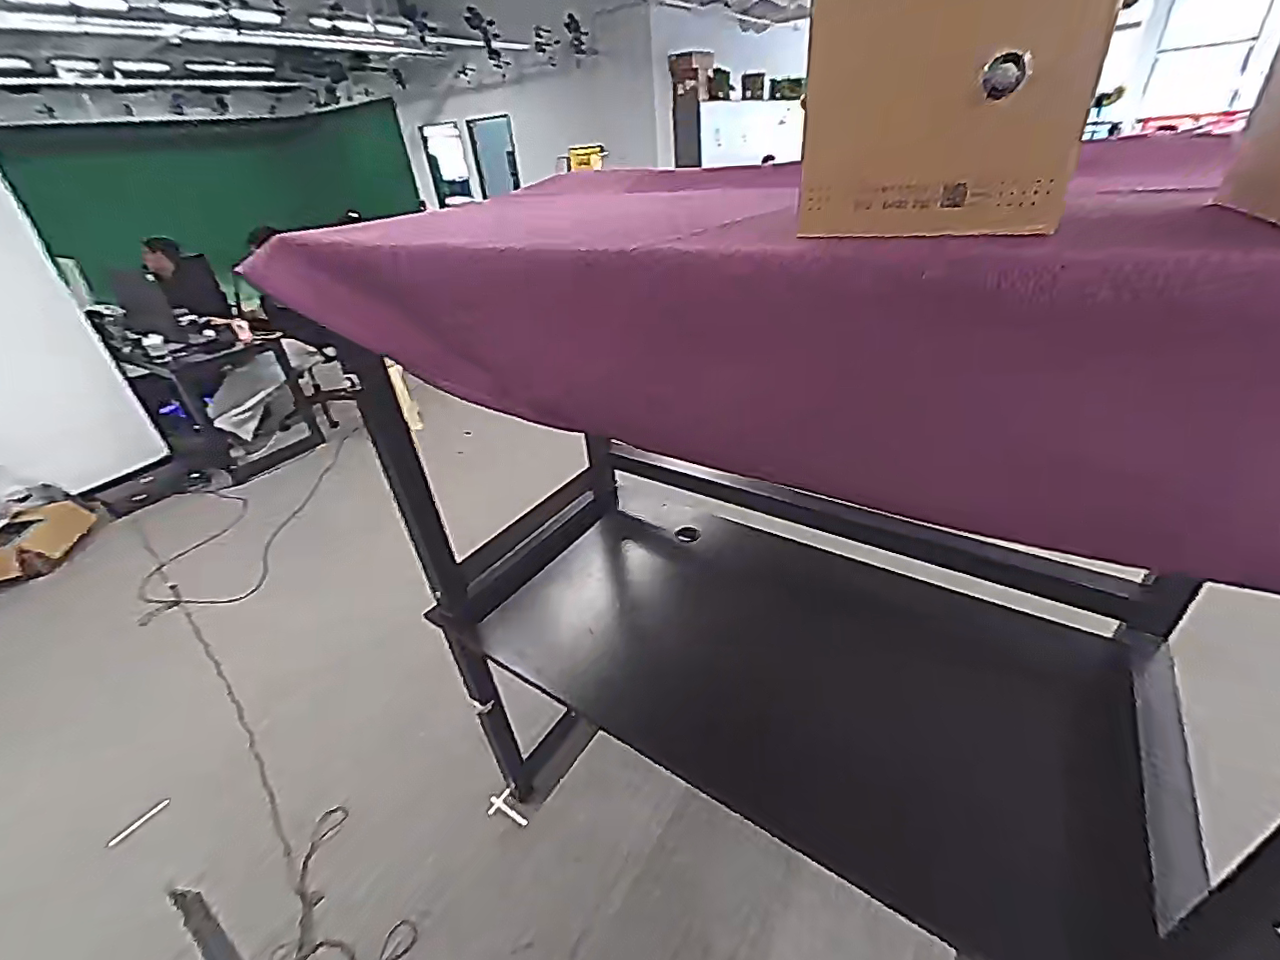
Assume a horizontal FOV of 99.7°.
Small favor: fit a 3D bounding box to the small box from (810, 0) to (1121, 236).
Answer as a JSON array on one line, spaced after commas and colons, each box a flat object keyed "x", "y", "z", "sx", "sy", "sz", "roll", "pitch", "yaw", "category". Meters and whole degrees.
[{"x": 0.231, "y": -0.281, "z": 0.398, "sx": 0.168, "sy": 0.176, "sz": 0.179, "roll": 14, "pitch": 36, "yaw": 28, "category": "small box"}]

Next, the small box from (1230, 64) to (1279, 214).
[{"x": 0.439, "y": -0.215, "z": 0.249, "sx": 0.168, "sy": 0.176, "sz": 0.179, "roll": 10, "pitch": 34, "yaw": 26, "category": "small box"}]
